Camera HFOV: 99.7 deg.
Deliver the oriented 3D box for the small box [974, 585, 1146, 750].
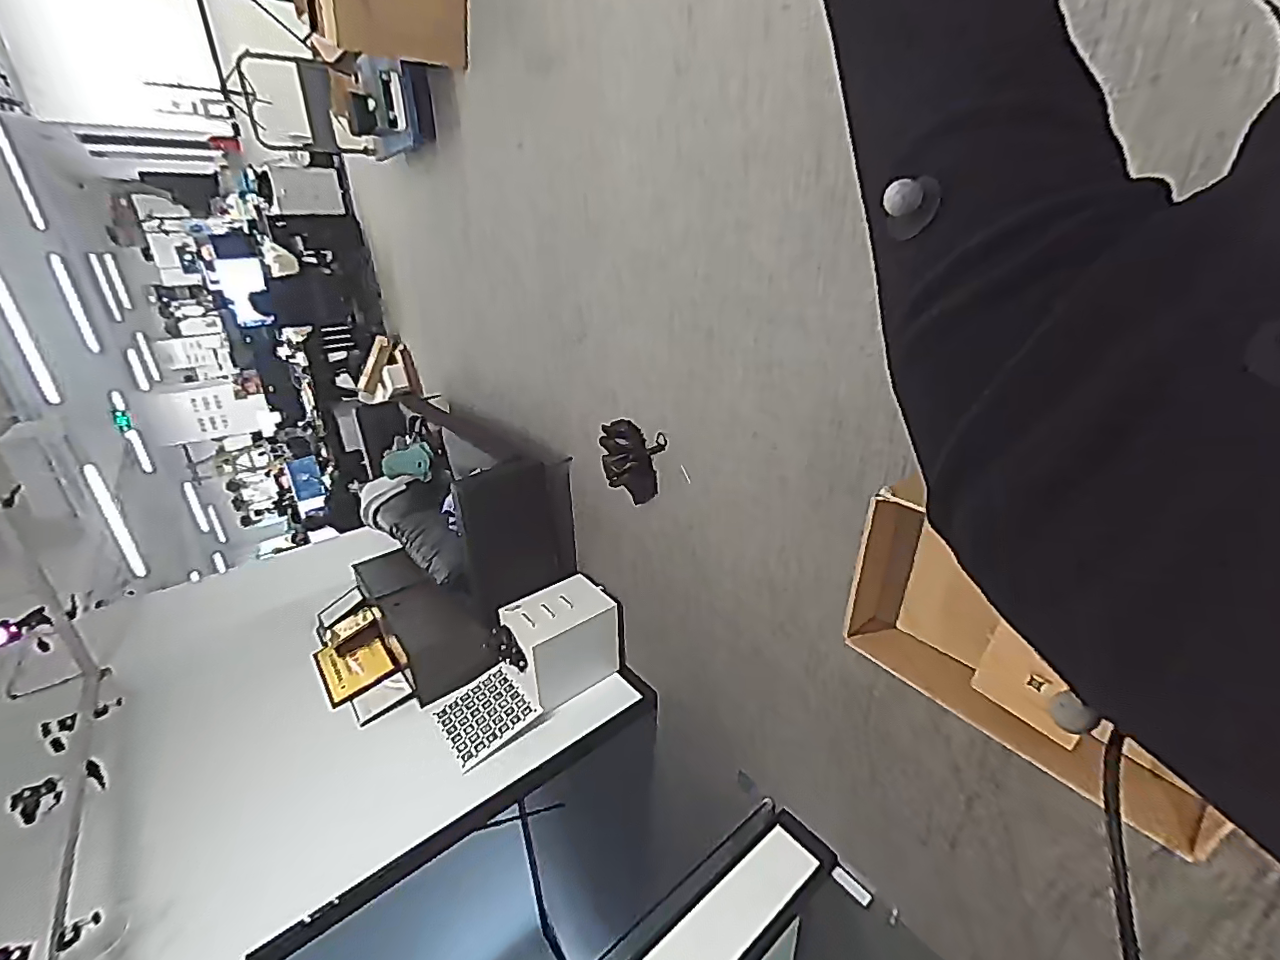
[{"bbox_3d":[0.726,0.312,0.937,0.168,0.176,0.179,34,134,45],"label":"small box"}]
